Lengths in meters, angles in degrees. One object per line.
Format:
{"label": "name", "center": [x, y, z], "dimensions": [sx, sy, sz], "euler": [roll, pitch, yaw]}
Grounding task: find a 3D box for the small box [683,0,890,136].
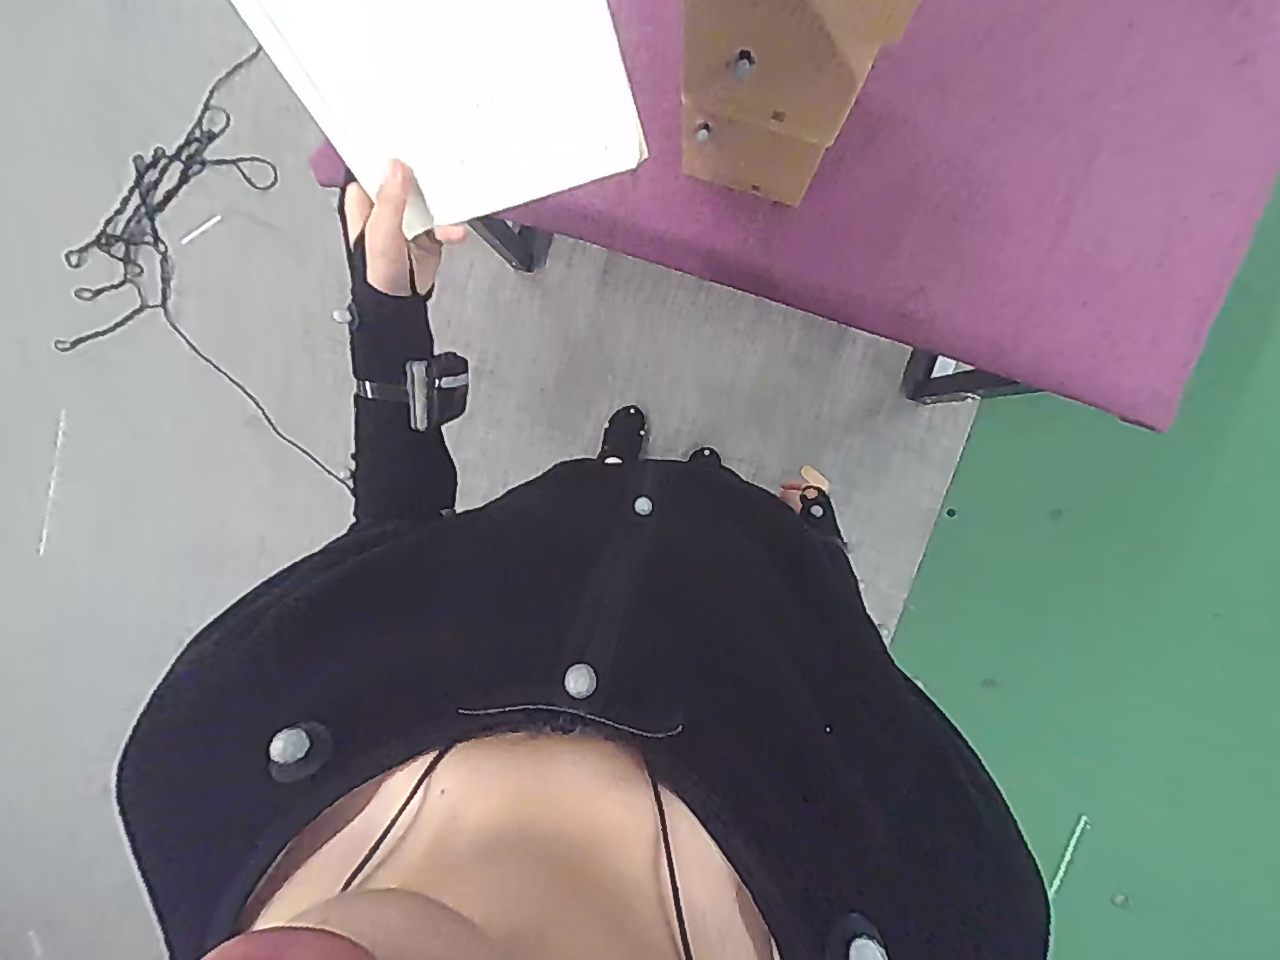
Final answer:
{"label": "small box", "center": [0.143, -0.454, 0.484], "dimensions": [0.168, 0.176, 0.179], "euler": [19, 95, 2]}
